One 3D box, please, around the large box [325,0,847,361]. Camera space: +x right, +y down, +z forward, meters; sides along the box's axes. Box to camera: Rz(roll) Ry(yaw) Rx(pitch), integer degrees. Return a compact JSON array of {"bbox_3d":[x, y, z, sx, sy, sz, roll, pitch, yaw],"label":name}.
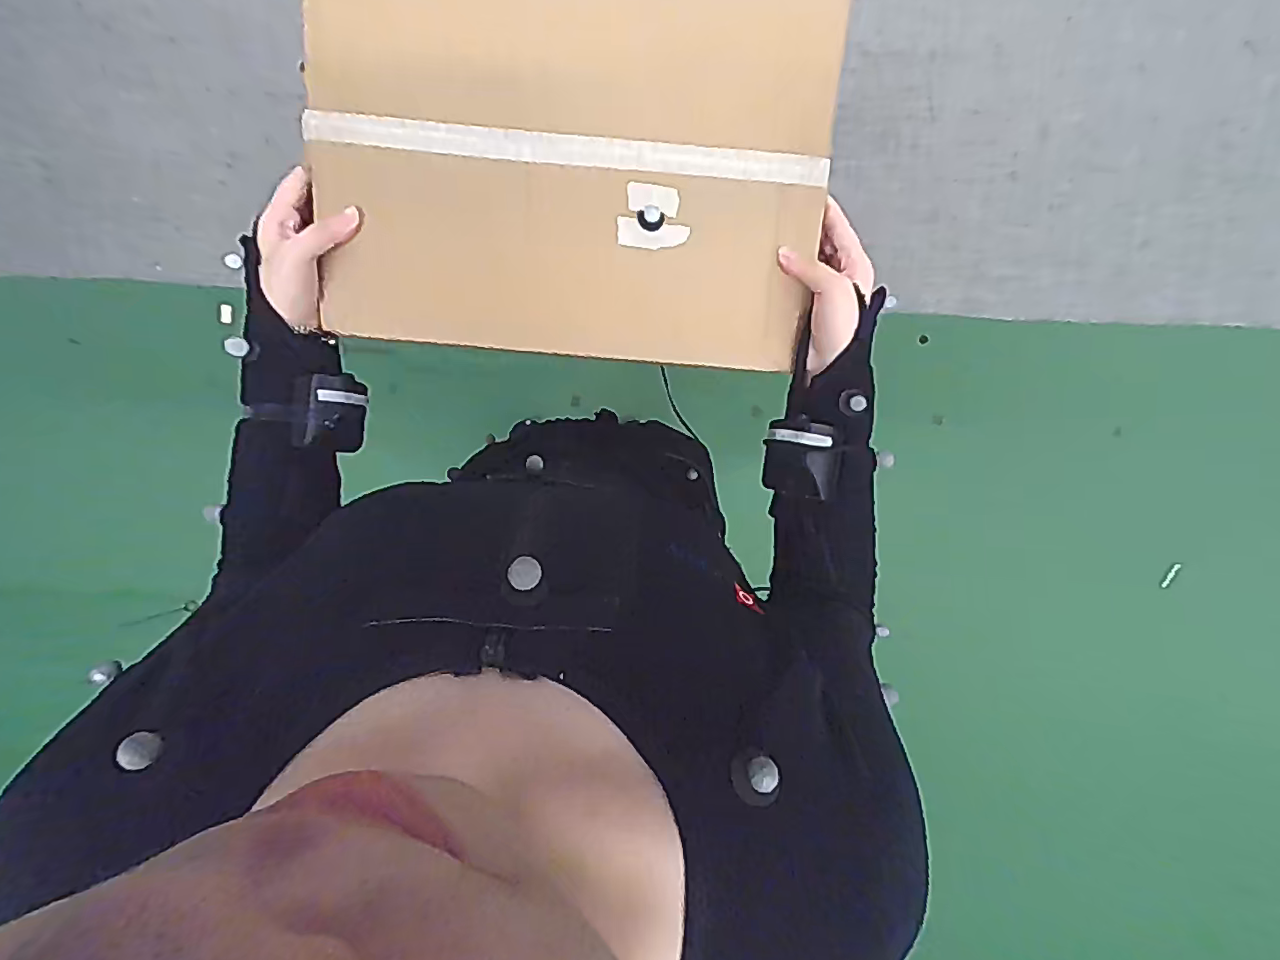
[{"bbox_3d":[-0.053,-0.297,0.579,0.408,0.320,0.320,4,103,-3],"label":"large box"}]
